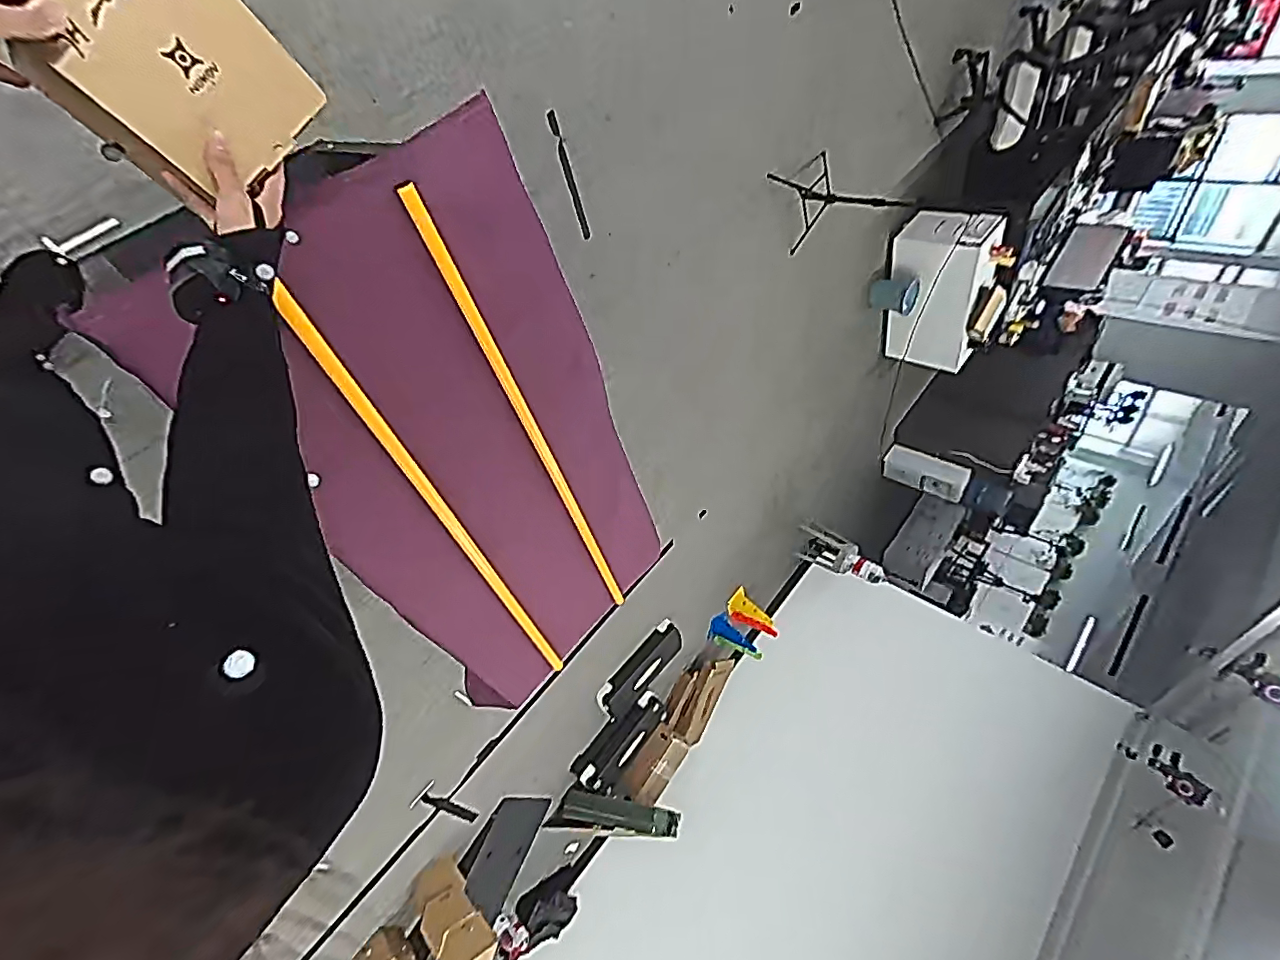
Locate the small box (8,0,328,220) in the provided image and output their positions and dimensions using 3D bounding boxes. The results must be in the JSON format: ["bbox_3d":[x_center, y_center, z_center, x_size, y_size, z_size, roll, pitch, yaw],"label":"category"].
[{"bbox_3d":[-0.477,-0.399,0.558,0.168,0.176,0.179,-58,140,-12],"label":"small box"}]
